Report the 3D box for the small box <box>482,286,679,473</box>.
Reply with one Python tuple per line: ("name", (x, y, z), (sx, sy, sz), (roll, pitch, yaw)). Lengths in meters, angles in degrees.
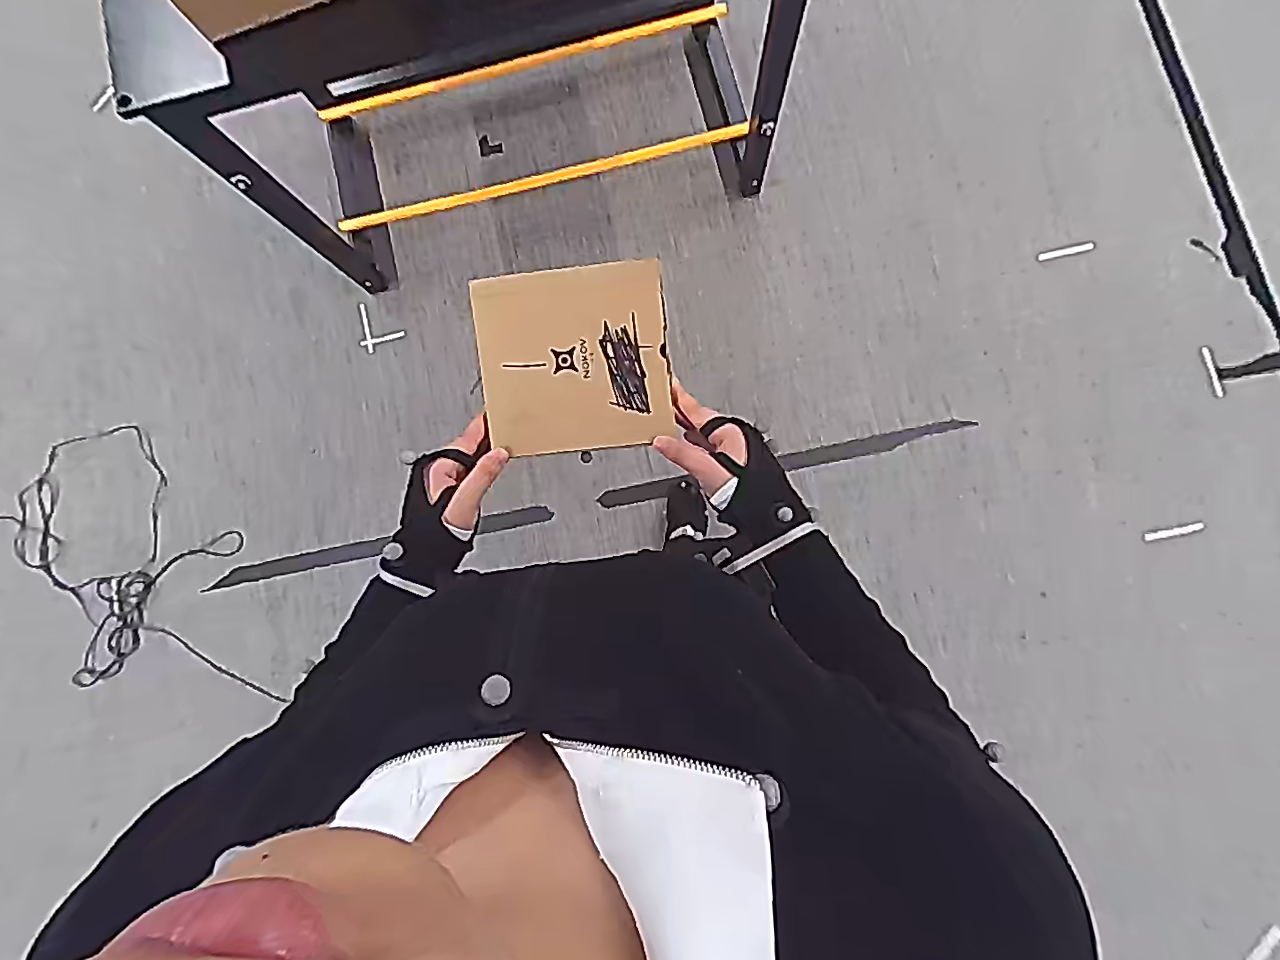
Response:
("small box", (-0.055, -0.103, 0.593), (0.179, 0.176, 0.168), (-5, 96, 3))
